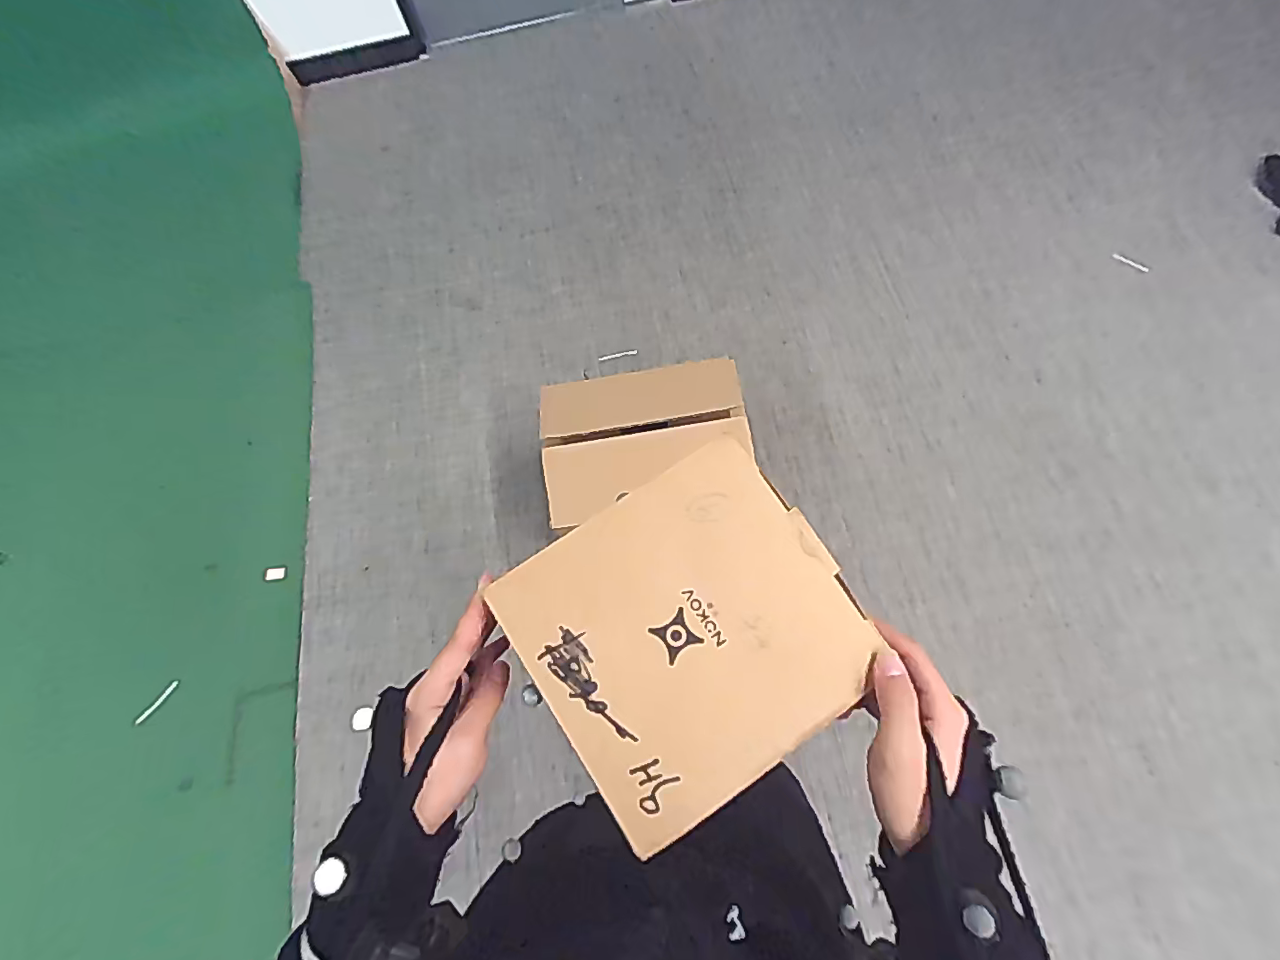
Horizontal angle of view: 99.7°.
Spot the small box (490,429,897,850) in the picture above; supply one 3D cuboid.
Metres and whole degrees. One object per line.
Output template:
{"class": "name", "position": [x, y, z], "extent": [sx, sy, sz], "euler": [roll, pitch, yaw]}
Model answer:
{"class": "small box", "position": [0.026, 0.095, 0.377], "extent": [0.179, 0.176, 0.168], "euler": [-33, 80, -8]}
